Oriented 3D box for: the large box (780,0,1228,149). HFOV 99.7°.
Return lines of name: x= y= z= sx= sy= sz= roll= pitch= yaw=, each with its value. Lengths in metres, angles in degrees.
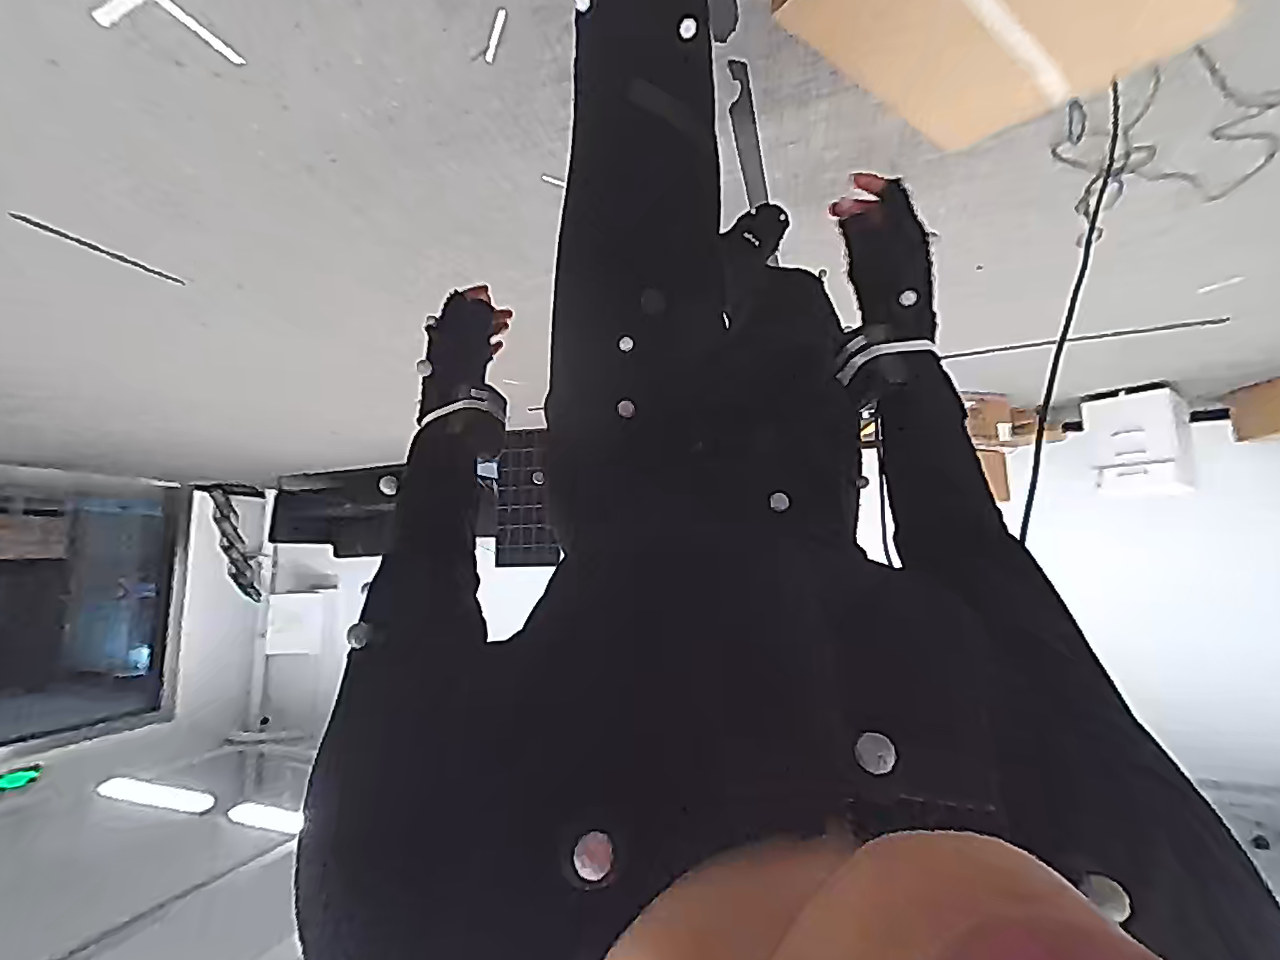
large box: x=0.406 y=-0.674 z=0.609 sx=0.408 sy=0.320 sz=0.320 roll=7 pitch=177 yaw=-34
